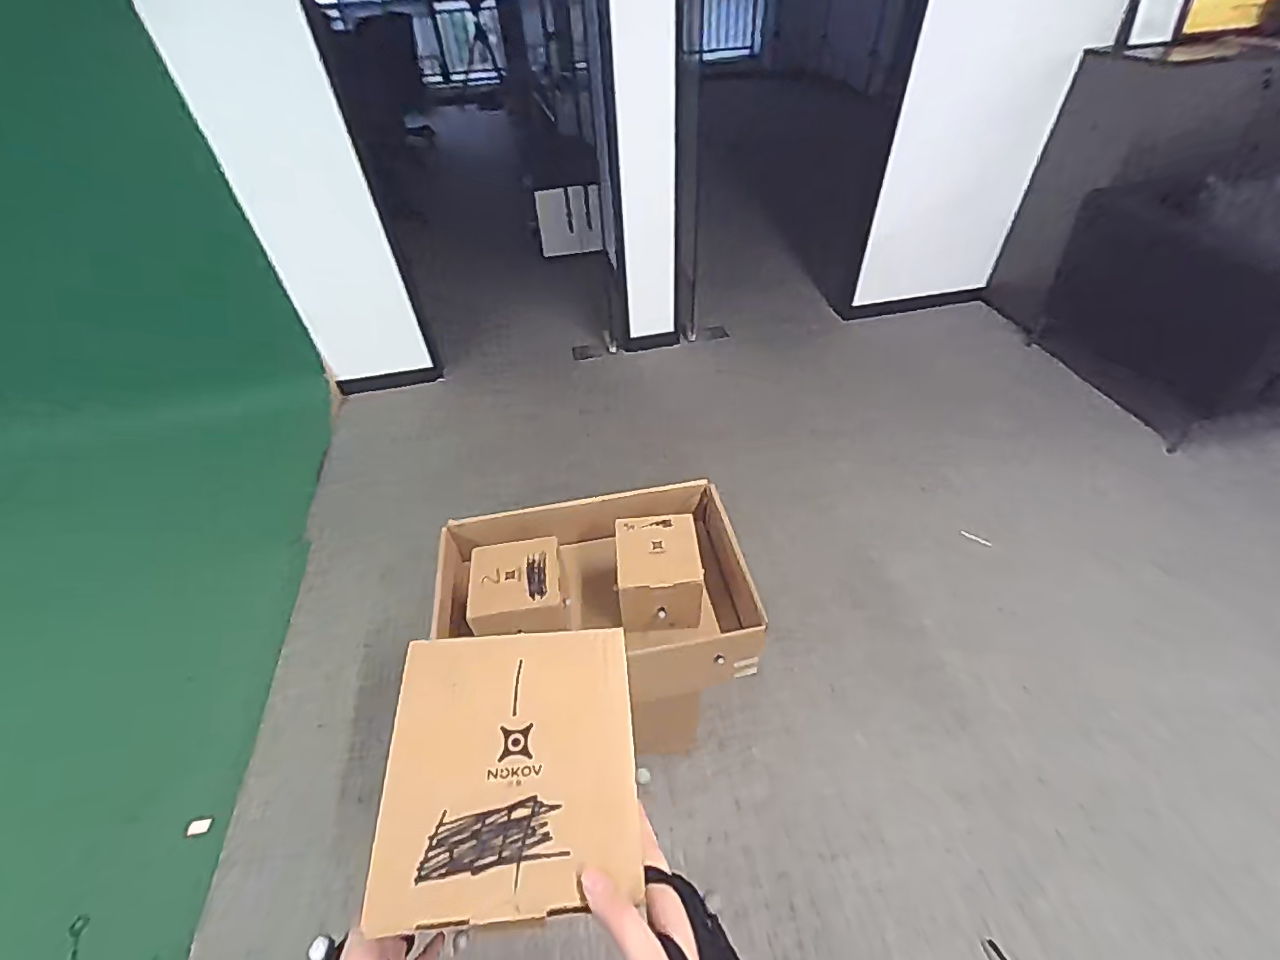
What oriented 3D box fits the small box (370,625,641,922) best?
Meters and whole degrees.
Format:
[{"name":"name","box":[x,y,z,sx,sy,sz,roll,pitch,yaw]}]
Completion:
[{"name":"small box","box":[-0.089,0.235,0.435,0.168,0.176,0.179,-1,51,-6]}]
